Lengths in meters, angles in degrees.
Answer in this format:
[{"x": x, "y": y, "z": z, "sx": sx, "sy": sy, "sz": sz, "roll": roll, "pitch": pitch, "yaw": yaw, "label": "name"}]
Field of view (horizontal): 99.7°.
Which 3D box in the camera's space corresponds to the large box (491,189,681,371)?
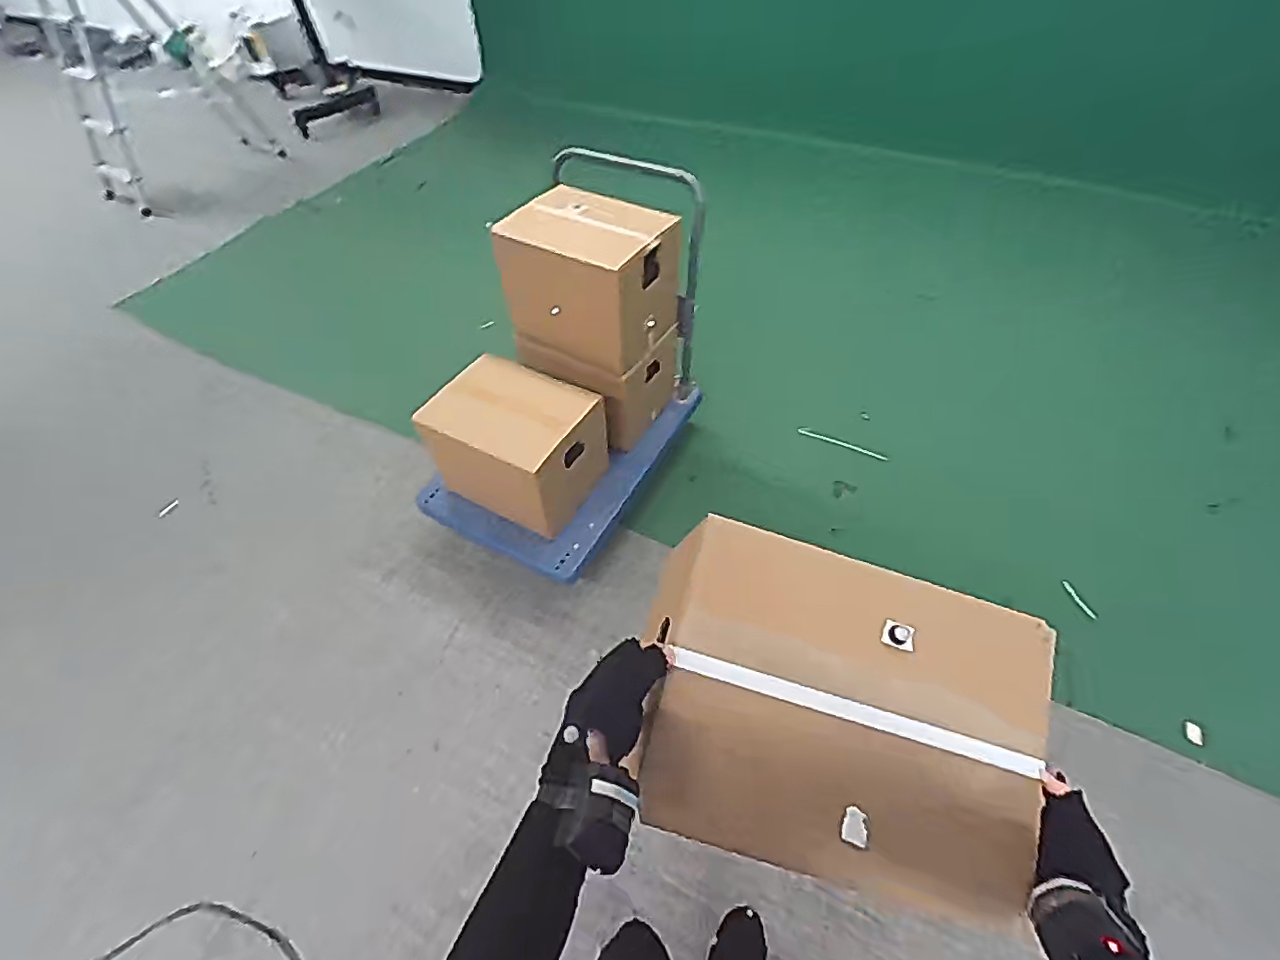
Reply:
[{"x": -0.130, "y": -0.559, "z": 1.508, "sx": 0.408, "sy": 0.320, "sz": 0.320, "roll": 25, "pitch": 55, "yaw": 22, "label": "large box"}]
